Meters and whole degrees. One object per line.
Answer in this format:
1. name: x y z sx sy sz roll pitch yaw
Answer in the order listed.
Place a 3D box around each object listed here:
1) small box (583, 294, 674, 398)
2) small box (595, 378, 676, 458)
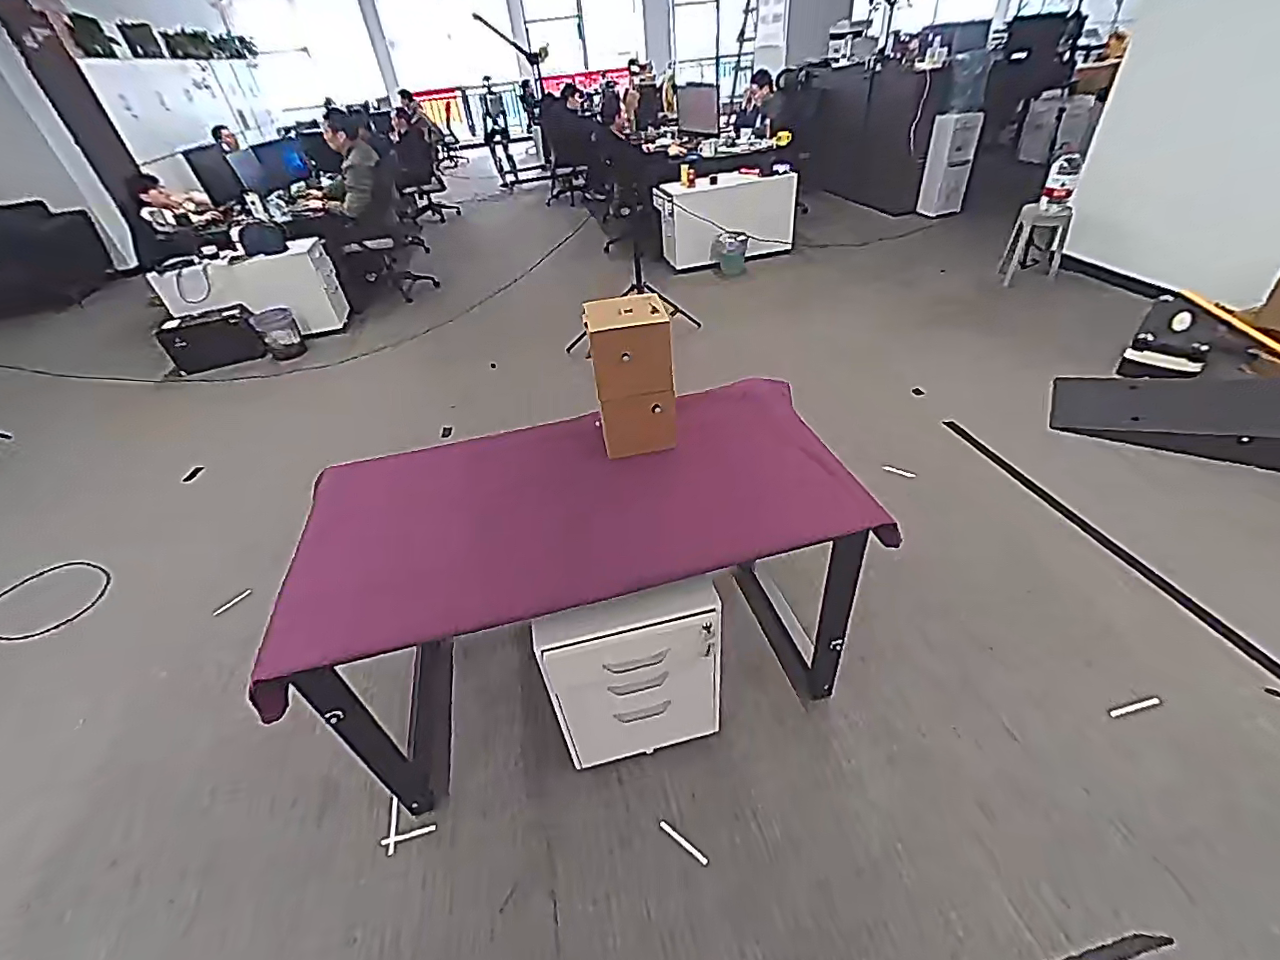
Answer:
1. small box: -0.026 -0.303 1.233 0.179 0.176 0.168 -10 40 -3
2. small box: -0.010 -0.176 1.336 0.179 0.176 0.168 -11 40 -4
